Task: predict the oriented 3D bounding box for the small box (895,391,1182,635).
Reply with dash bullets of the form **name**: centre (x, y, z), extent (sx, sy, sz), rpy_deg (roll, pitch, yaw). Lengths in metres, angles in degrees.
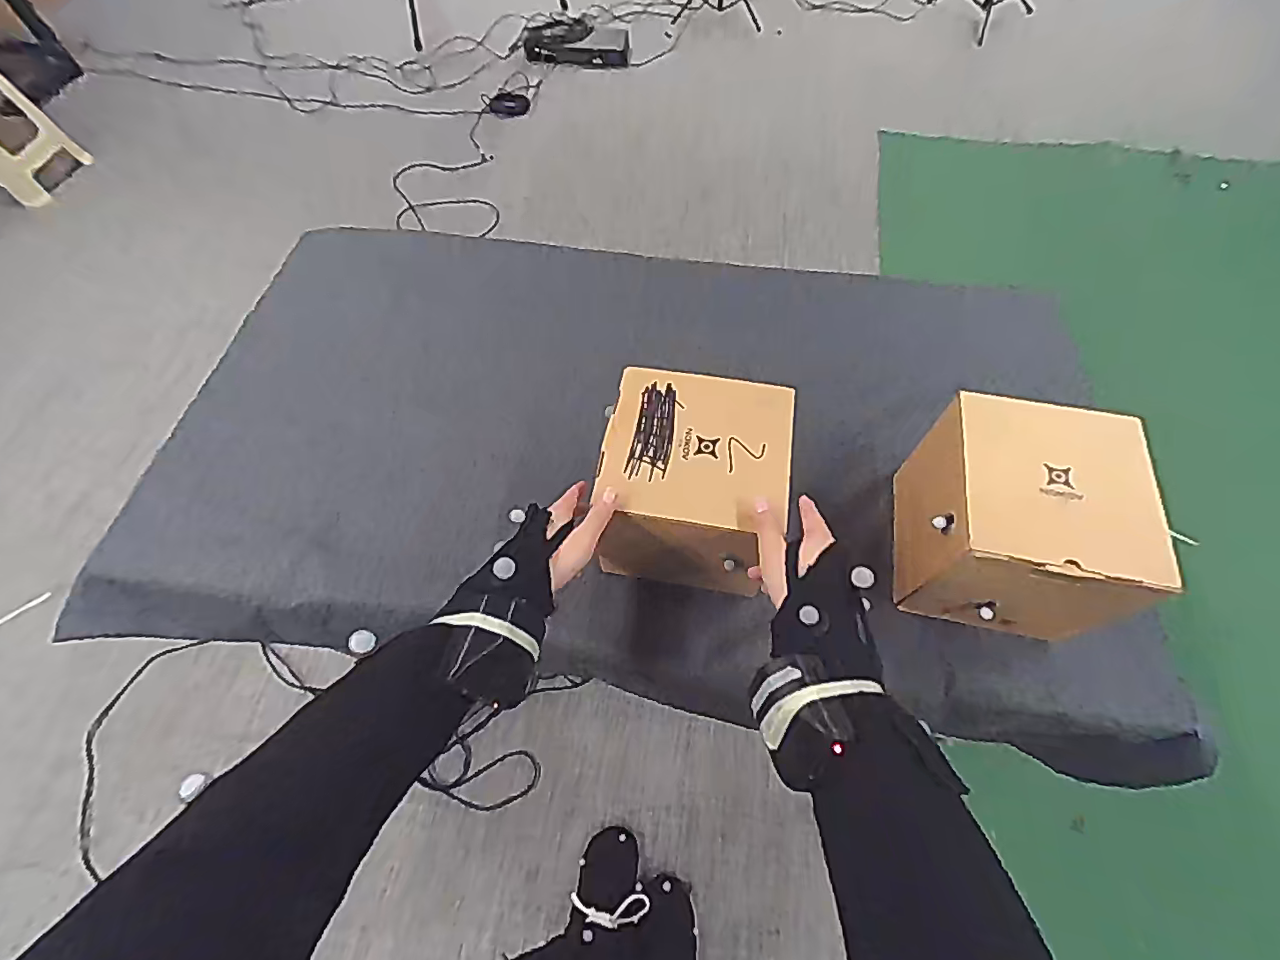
- **small box**: centre (0.376, 0.040, 0.553), extent (0.168, 0.176, 0.179), rpy_deg (10, 62, 7)
